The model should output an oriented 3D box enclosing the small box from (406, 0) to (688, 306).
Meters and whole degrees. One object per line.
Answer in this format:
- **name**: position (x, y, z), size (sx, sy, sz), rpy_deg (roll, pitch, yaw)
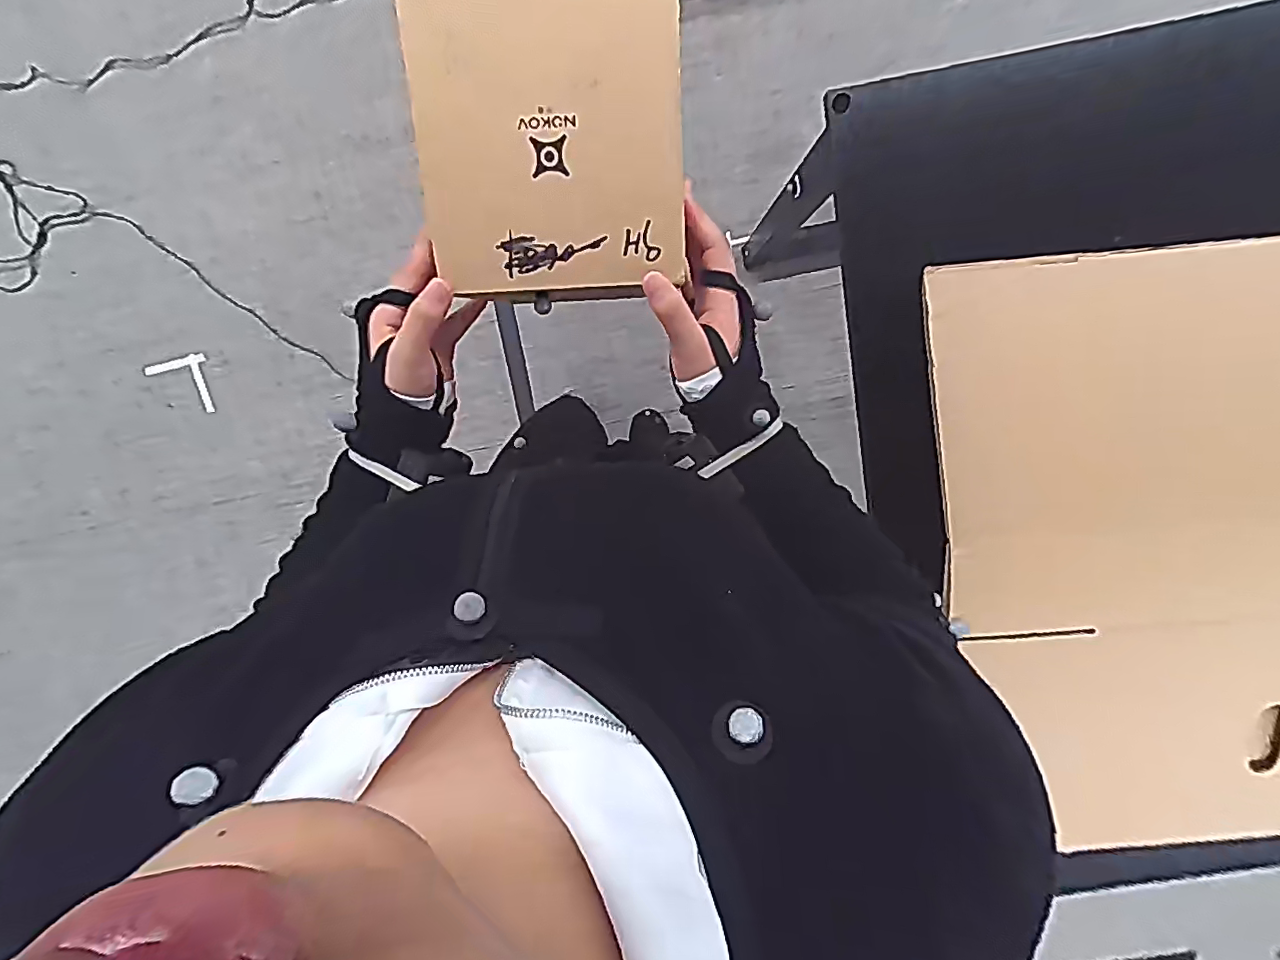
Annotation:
- **small box**: position (-0.055, -0.232, 0.412), size (0.168, 0.176, 0.179), rpy_deg (-3, 105, 1)
